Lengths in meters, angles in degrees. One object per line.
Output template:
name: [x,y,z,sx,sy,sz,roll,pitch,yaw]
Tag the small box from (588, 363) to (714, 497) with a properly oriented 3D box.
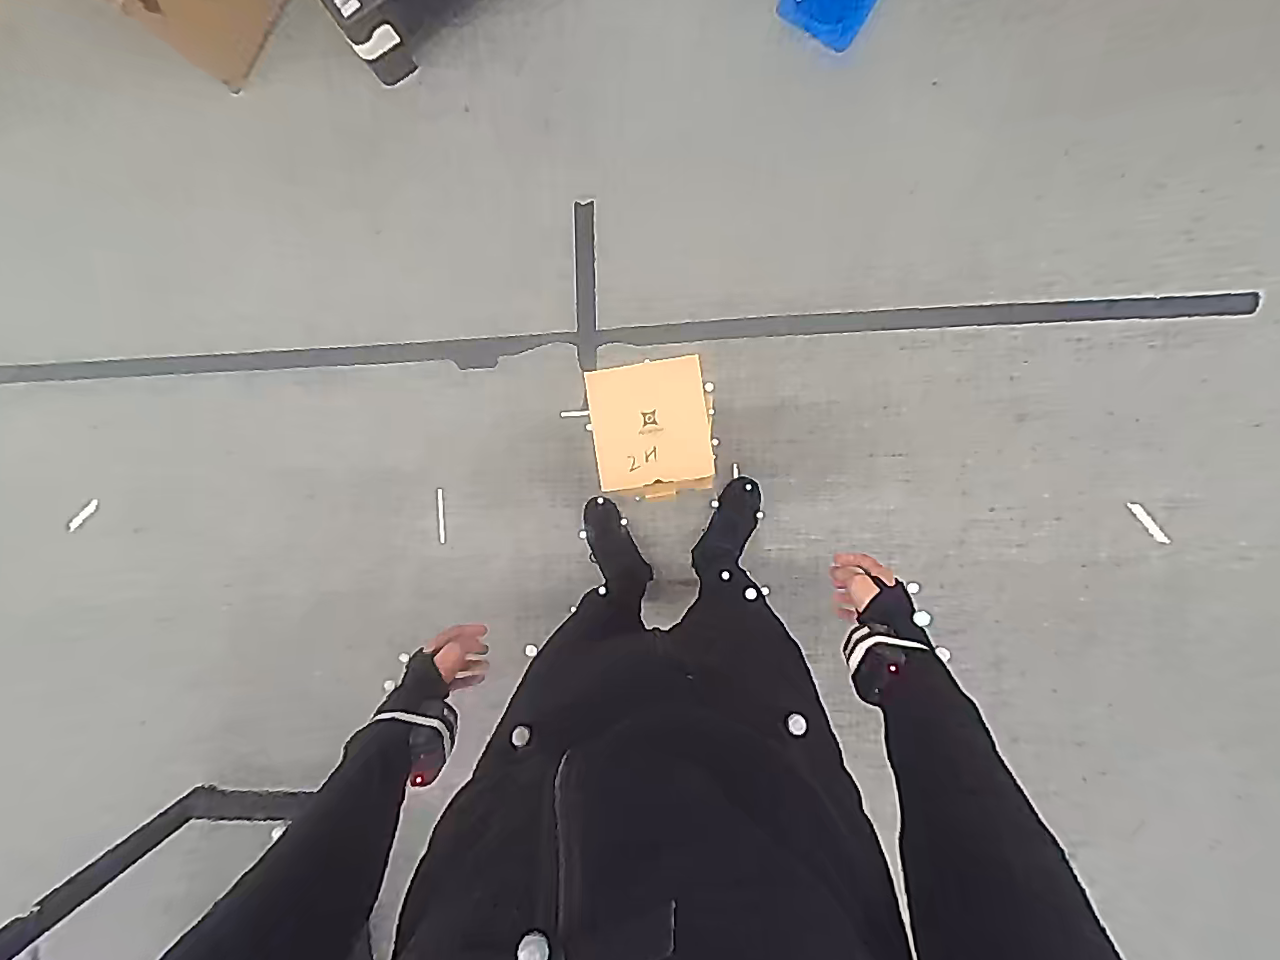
small box: [0.021,-0.075,0.845,0.168,0.176,0.179,-8,94,6]
